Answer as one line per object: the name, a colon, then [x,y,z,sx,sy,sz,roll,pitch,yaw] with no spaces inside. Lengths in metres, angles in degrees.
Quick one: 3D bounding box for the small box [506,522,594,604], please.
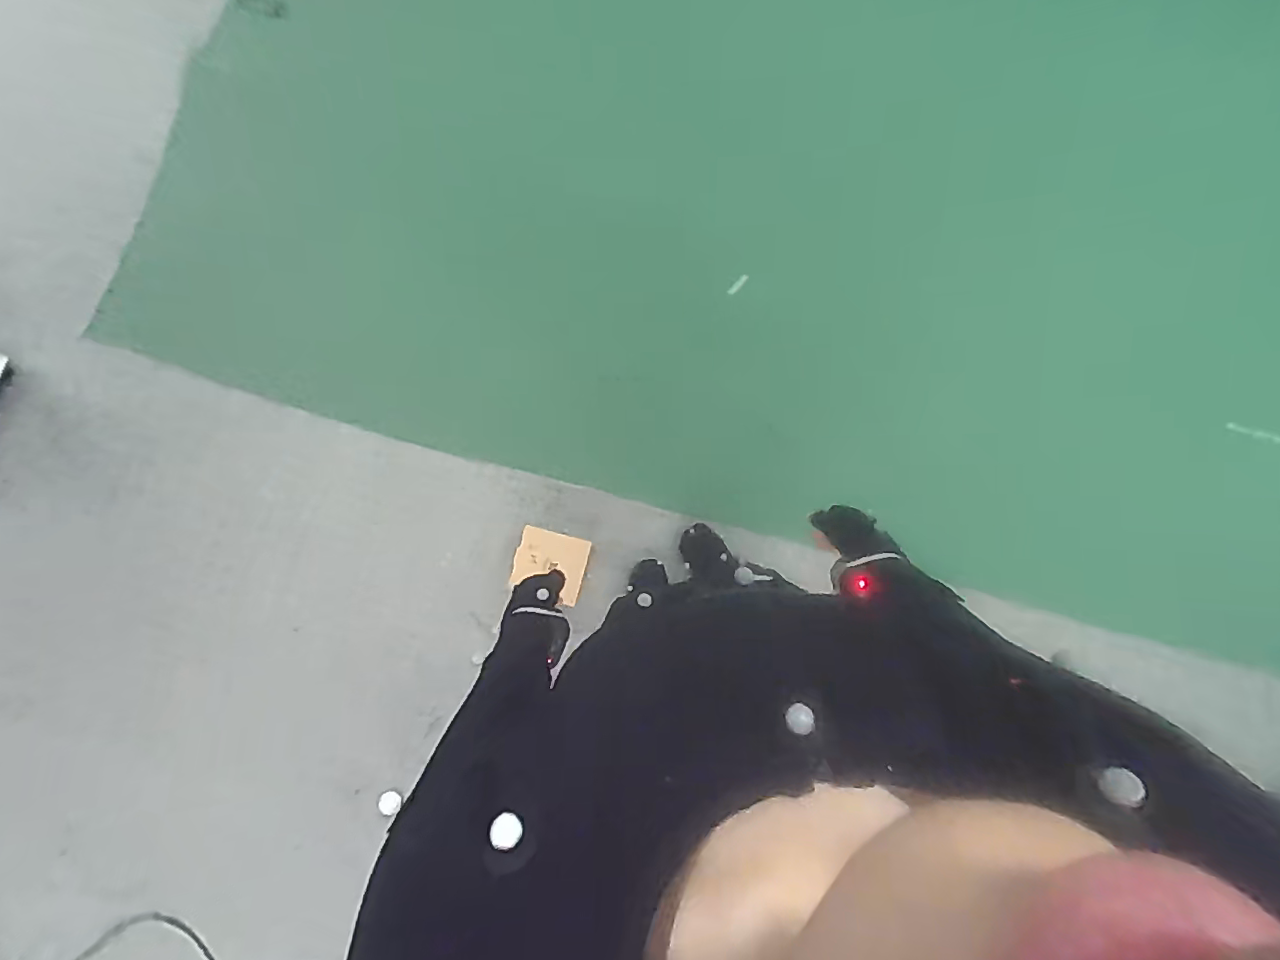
small box: [-0.222,0.209,1.395,0.179,0.176,0.168,15,83,0]
